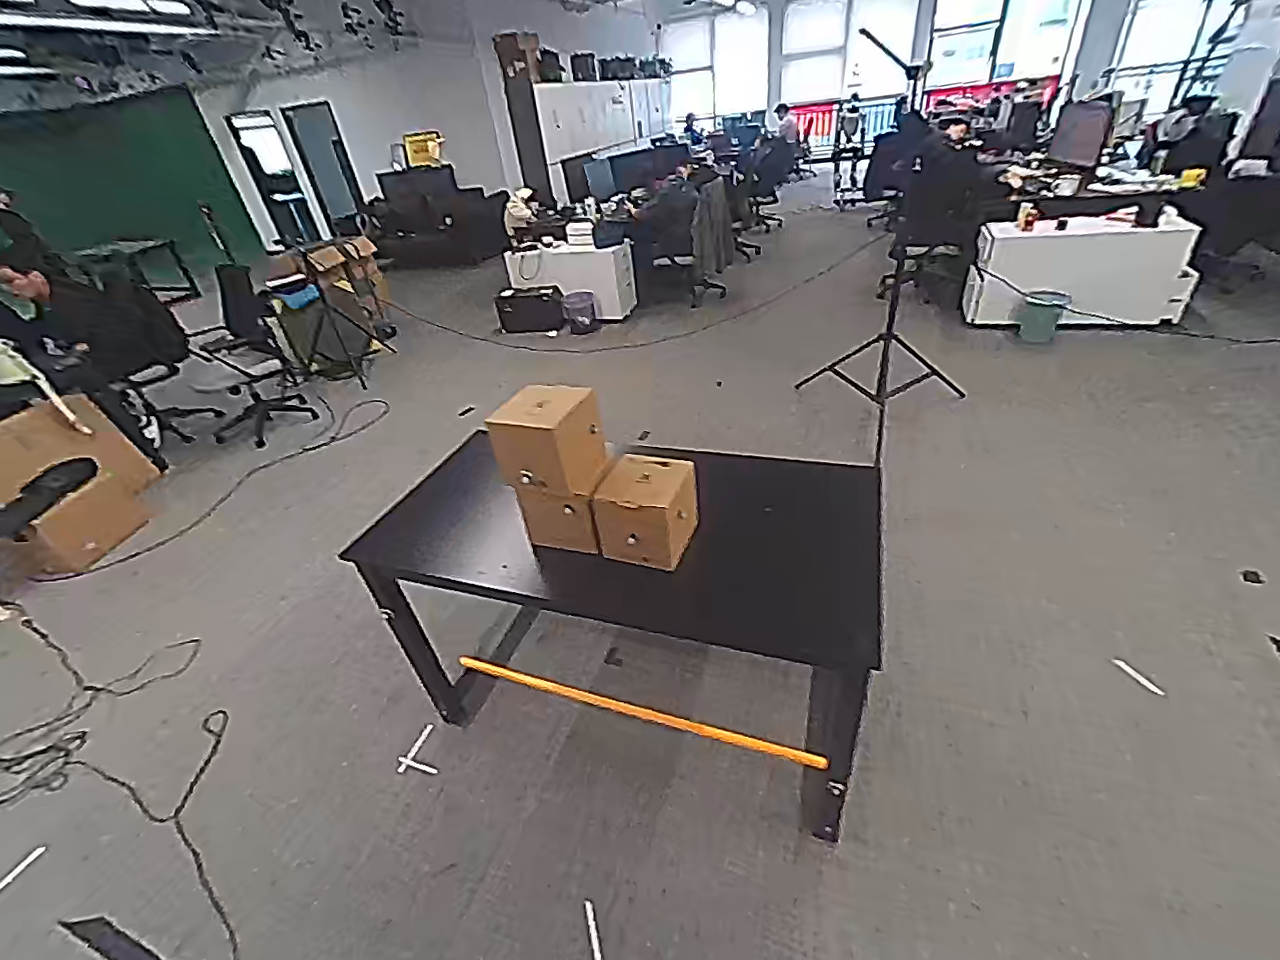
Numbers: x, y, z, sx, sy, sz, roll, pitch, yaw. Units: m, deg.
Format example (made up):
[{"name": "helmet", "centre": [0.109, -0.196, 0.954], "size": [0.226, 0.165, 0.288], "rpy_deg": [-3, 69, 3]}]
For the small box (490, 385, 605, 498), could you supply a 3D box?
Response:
[{"name": "small box", "centre": [-0.186, -0.085, 1.154], "size": [0.168, 0.176, 0.179], "rpy_deg": [7, 38, 23]}]
